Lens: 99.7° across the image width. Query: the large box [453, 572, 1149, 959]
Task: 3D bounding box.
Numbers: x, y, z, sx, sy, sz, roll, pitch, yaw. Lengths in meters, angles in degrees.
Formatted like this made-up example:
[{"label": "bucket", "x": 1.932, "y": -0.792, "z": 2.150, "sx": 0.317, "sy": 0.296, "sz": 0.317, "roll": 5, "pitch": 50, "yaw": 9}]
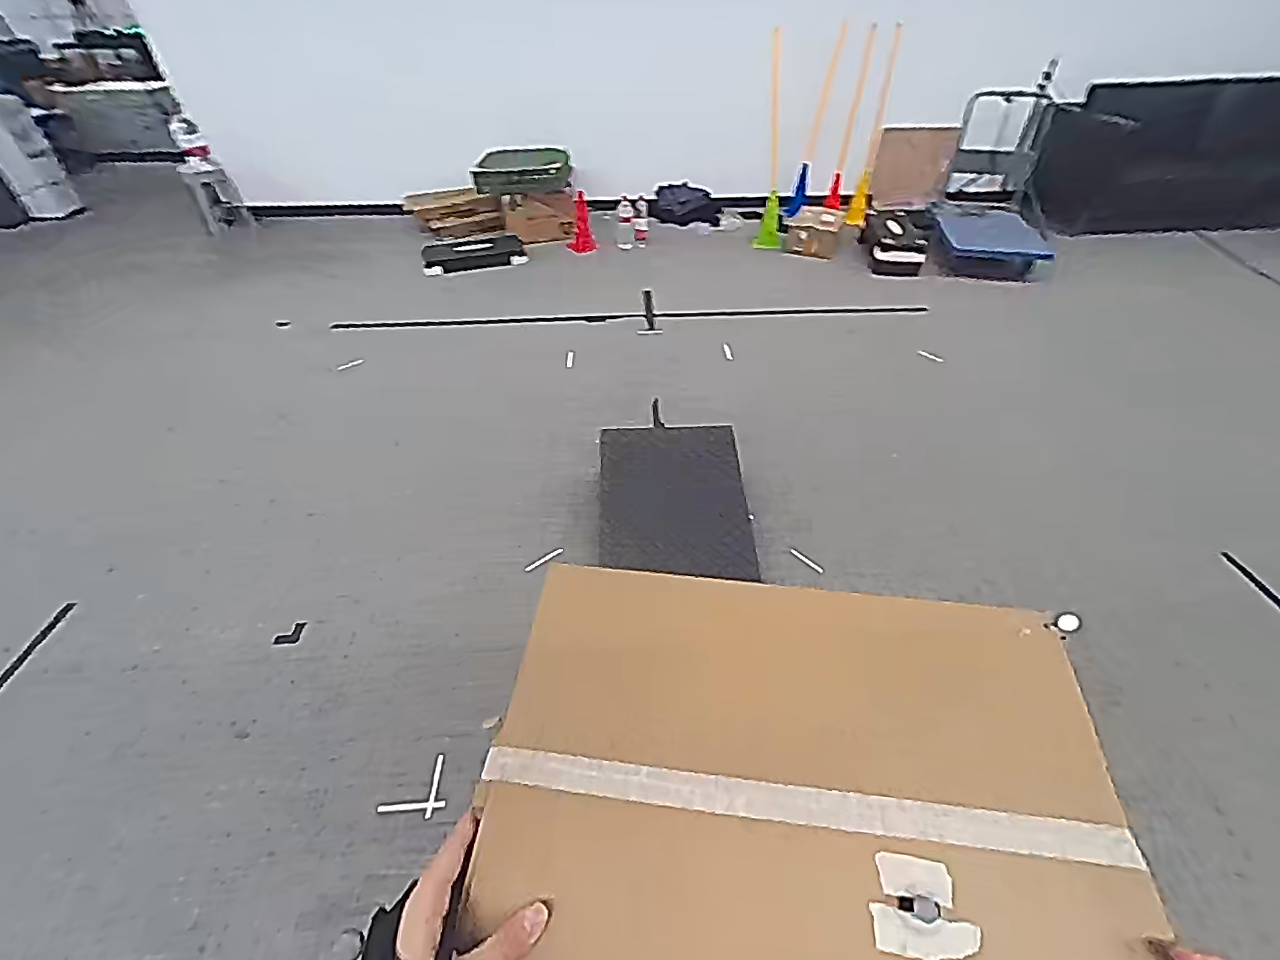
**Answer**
[{"label": "large box", "x": 0.101, "y": 0.304, "z": 0.478, "sx": 0.408, "sy": 0.320, "sz": 0.320, "roll": 4, "pitch": 53, "yaw": 6}]
